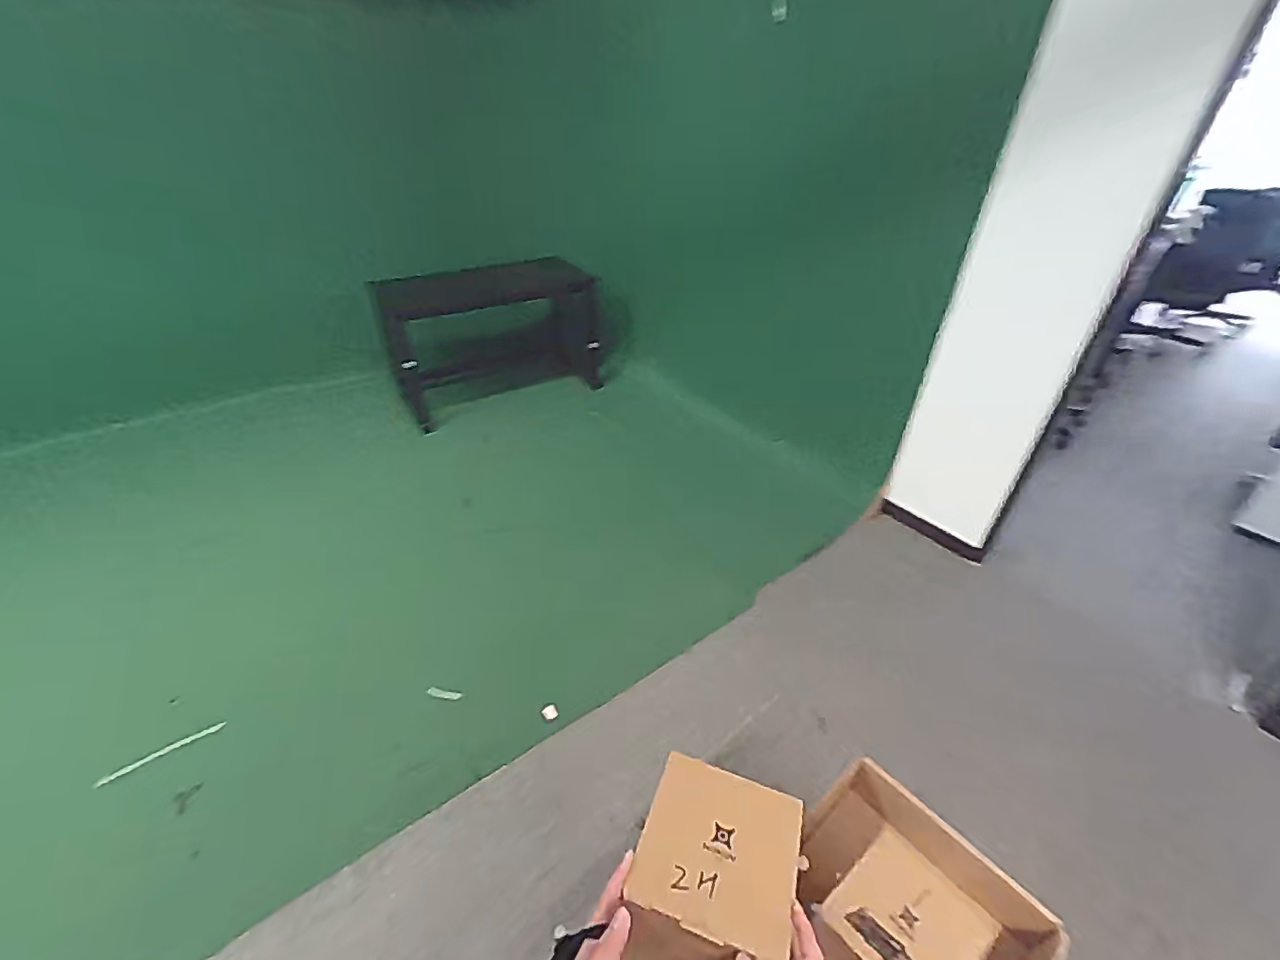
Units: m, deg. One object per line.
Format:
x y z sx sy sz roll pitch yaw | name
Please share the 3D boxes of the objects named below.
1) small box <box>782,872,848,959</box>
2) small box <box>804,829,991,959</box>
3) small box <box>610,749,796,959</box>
0.350 0.808 0.884 0.168 0.176 0.179 -24 44 -32 | small box
0.362 0.673 0.790 0.179 0.176 0.168 -22 42 -31 | small box
0.070 0.458 0.614 0.168 0.176 0.179 13 28 14 | small box
